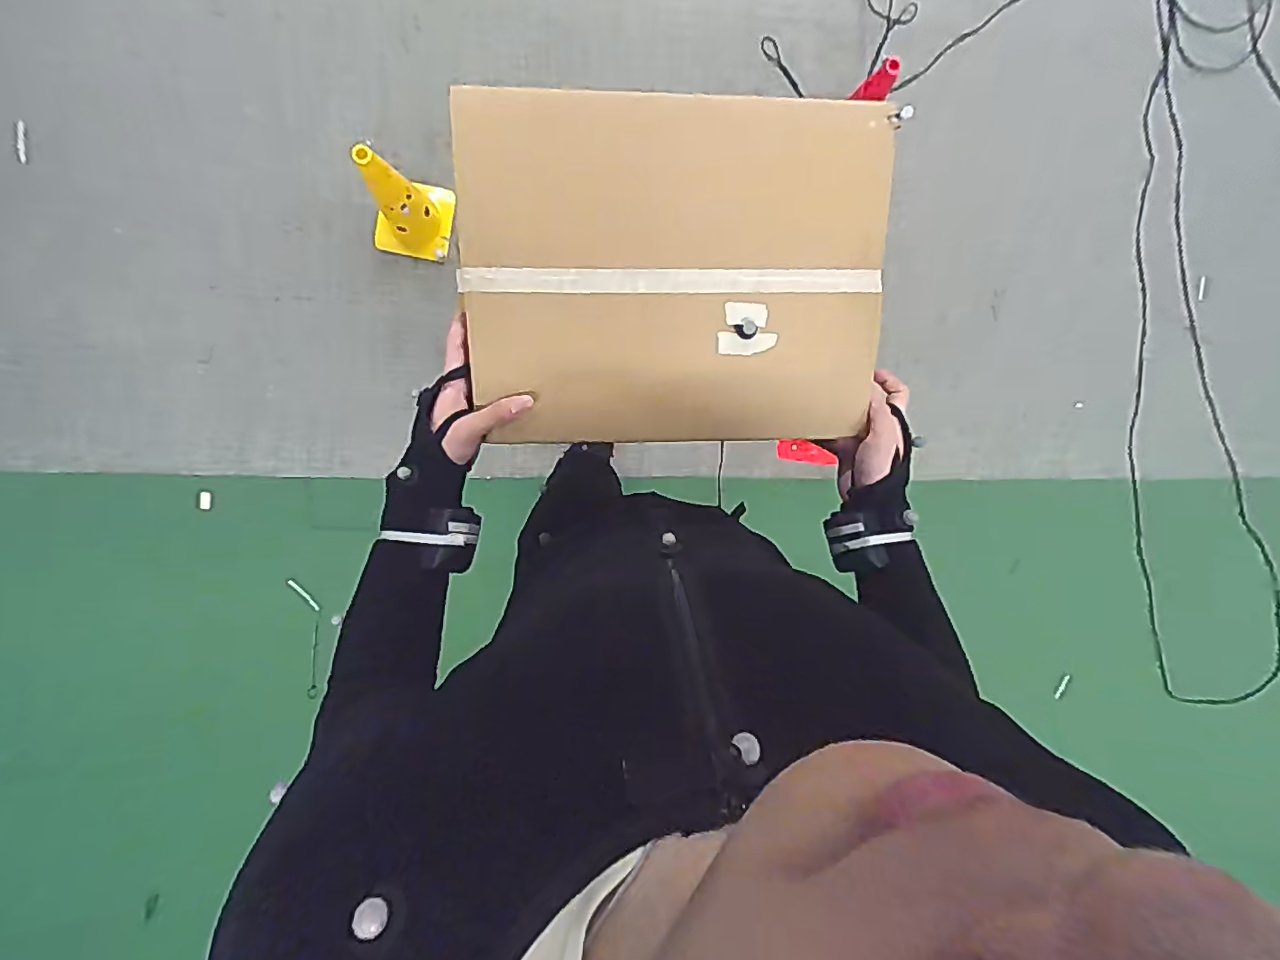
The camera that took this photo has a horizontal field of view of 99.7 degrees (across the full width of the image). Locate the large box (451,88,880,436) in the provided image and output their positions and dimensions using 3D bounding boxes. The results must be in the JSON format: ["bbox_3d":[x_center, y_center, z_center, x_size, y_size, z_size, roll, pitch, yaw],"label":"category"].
[{"bbox_3d":[0.017,-0.236,0.669,0.408,0.320,0.320,-2,105,-5],"label":"large box"}]

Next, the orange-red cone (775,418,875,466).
[{"bbox_3d":[0.535,-0.136,1.475,0.199,0.360,0.198,8,94,-7],"label":"orange-red cone"}]
